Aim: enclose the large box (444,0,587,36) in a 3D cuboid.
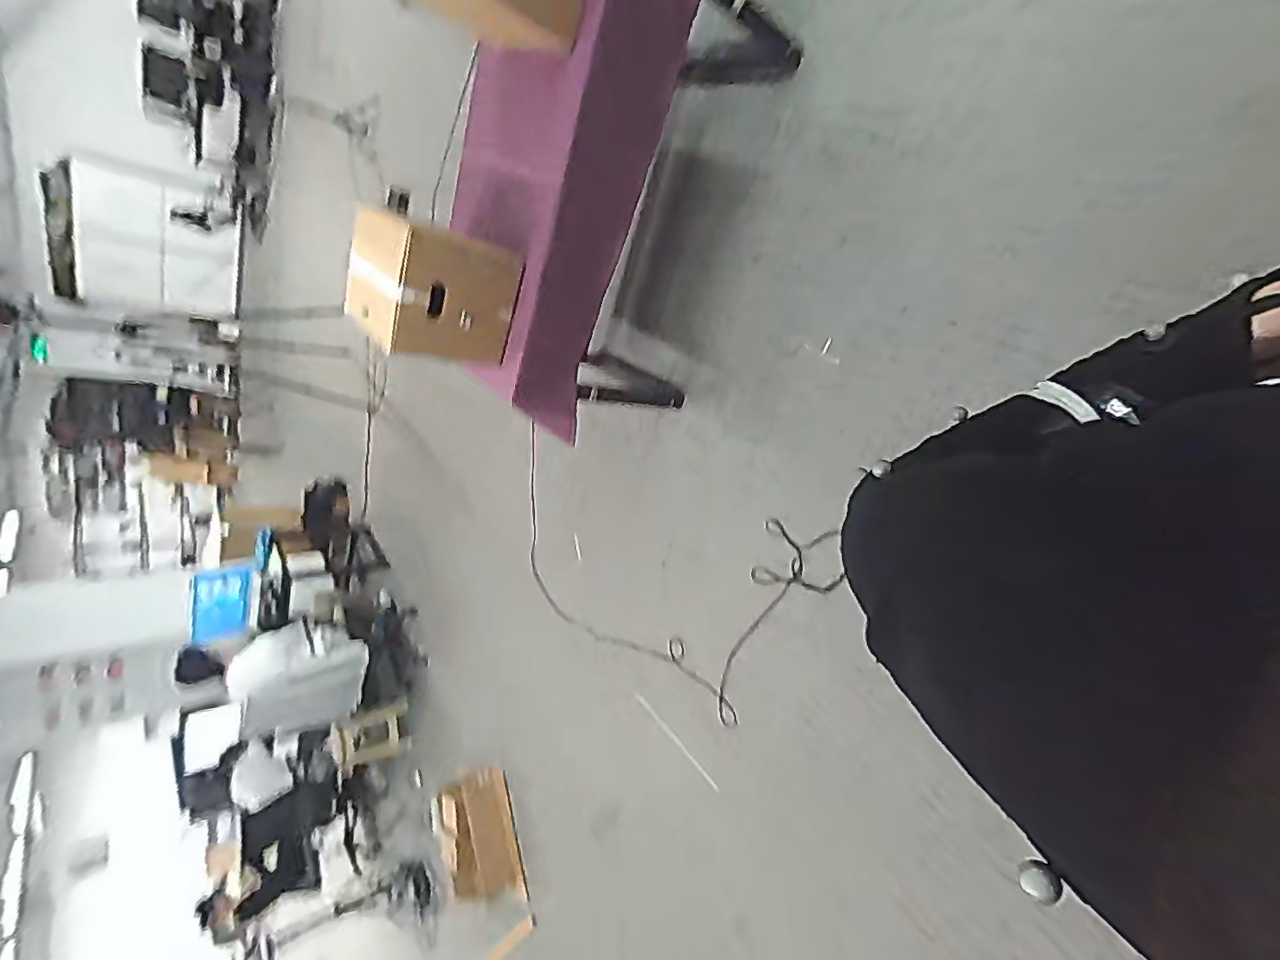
[{"bbox_3d":[-0.326,-1.273,1.230,0.408,0.320,0.320,39,118,36],"label":"large box"}]
